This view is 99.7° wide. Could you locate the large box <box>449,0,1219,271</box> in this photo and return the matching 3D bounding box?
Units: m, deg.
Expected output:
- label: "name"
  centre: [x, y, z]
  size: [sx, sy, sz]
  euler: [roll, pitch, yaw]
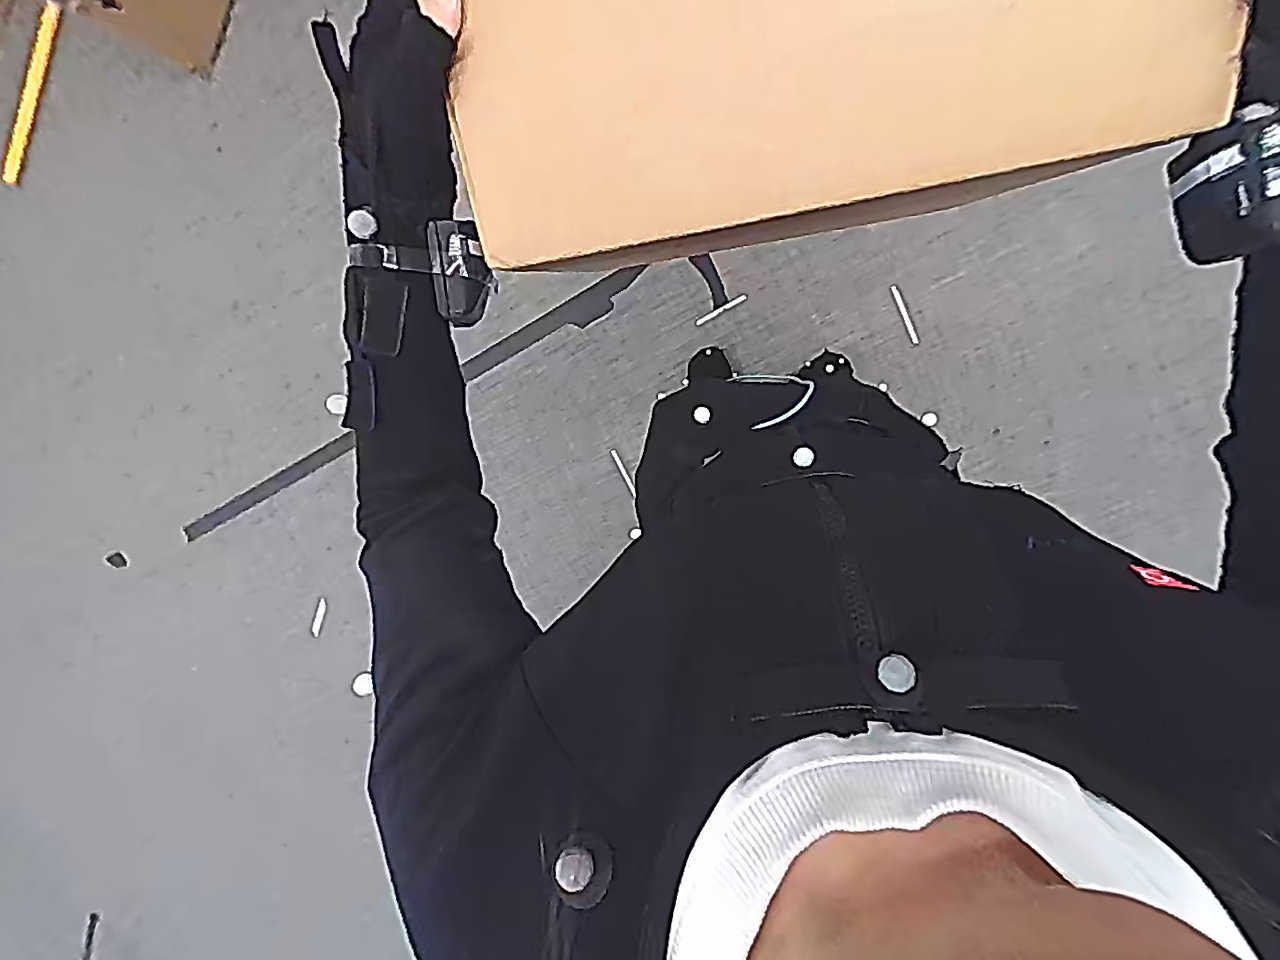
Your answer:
- label: "large box"
  centre: [0.098, -0.361, 0.414]
  size: [0.408, 0.320, 0.320]
  euler: [-7, 110, 10]
